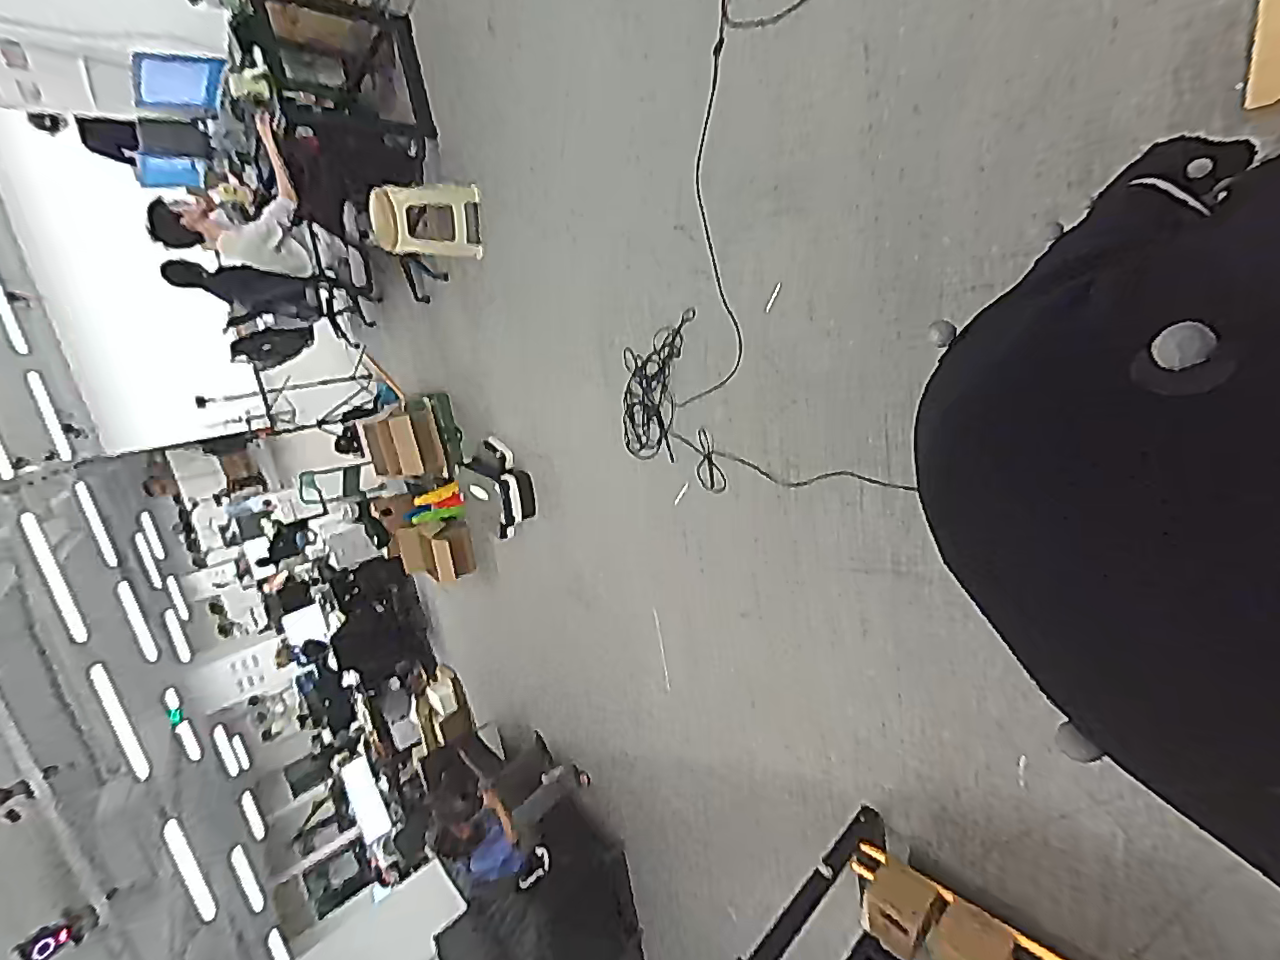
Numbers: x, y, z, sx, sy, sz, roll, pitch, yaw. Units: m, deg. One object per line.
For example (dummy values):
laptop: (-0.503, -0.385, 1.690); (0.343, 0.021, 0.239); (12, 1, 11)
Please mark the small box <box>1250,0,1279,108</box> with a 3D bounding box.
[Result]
small box: (1.022, -0.676, 0.783); (0.168, 0.176, 0.179); (9, 114, 48)
